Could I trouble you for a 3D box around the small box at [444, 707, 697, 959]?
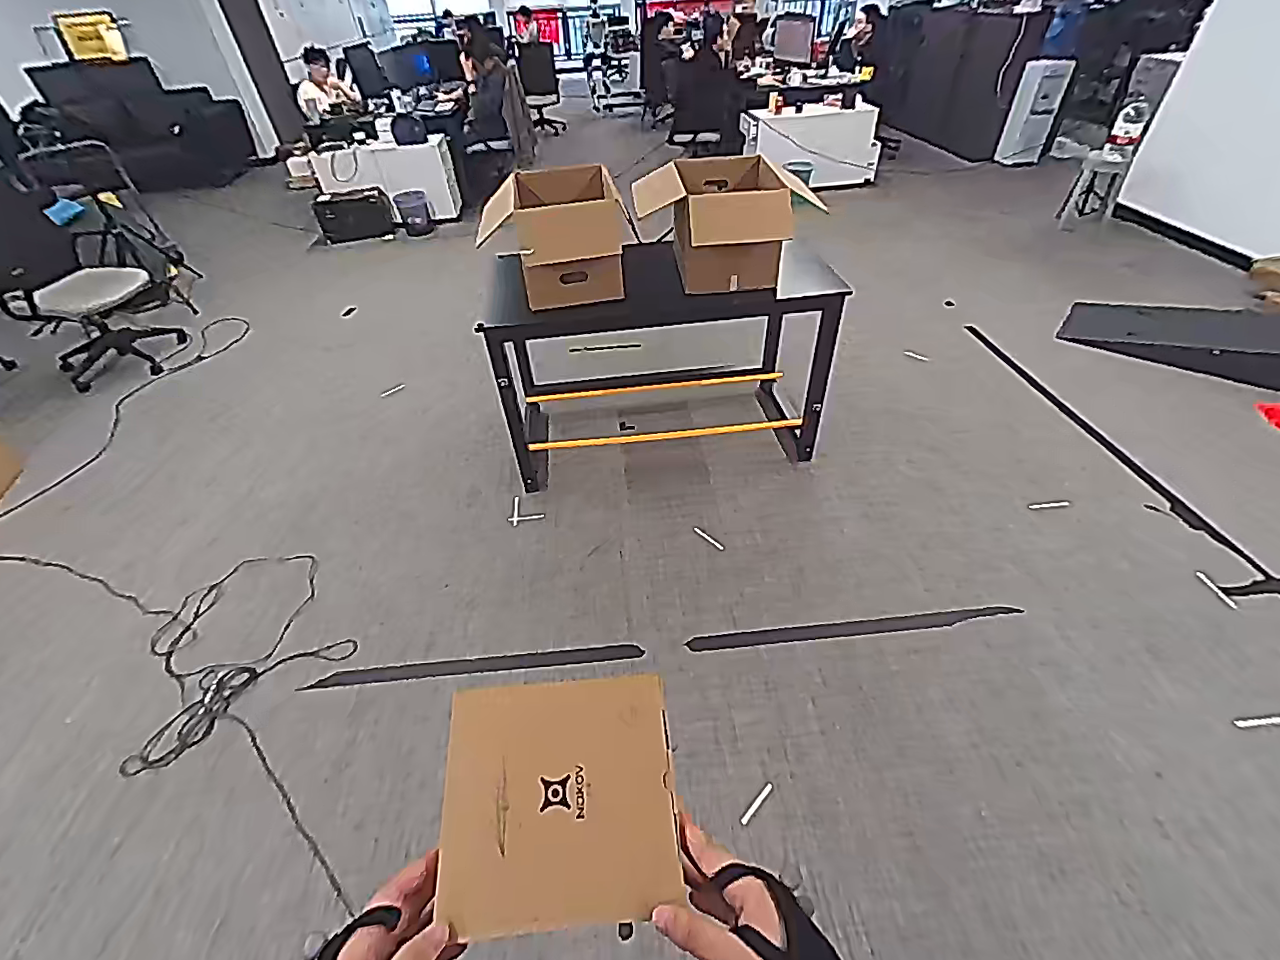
[{"bbox_3d":[-0.056,0.311,0.477,0.179,0.176,0.168,-5,54,-5],"label":"small box"}]
